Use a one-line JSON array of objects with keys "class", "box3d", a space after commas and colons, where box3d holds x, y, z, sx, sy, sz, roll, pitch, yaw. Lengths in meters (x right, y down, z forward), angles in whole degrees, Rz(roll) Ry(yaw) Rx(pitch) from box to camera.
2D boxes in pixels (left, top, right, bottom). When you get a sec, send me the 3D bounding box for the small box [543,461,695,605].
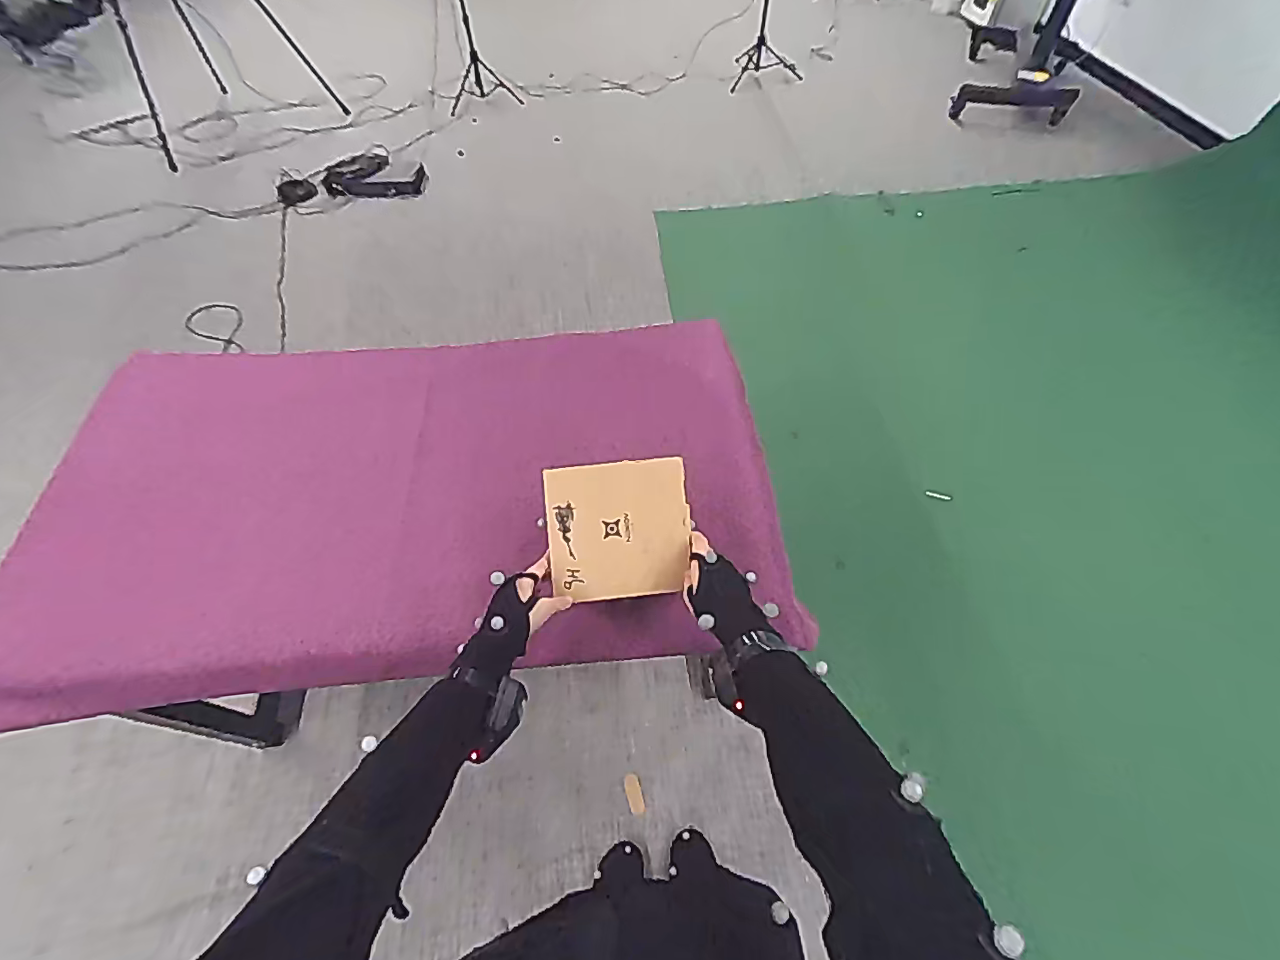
[{"class": "small box", "box3d": [-0.029, 0.074, 0.734, 0.179, 0.176, 0.168, -6, 81, -2]}]
